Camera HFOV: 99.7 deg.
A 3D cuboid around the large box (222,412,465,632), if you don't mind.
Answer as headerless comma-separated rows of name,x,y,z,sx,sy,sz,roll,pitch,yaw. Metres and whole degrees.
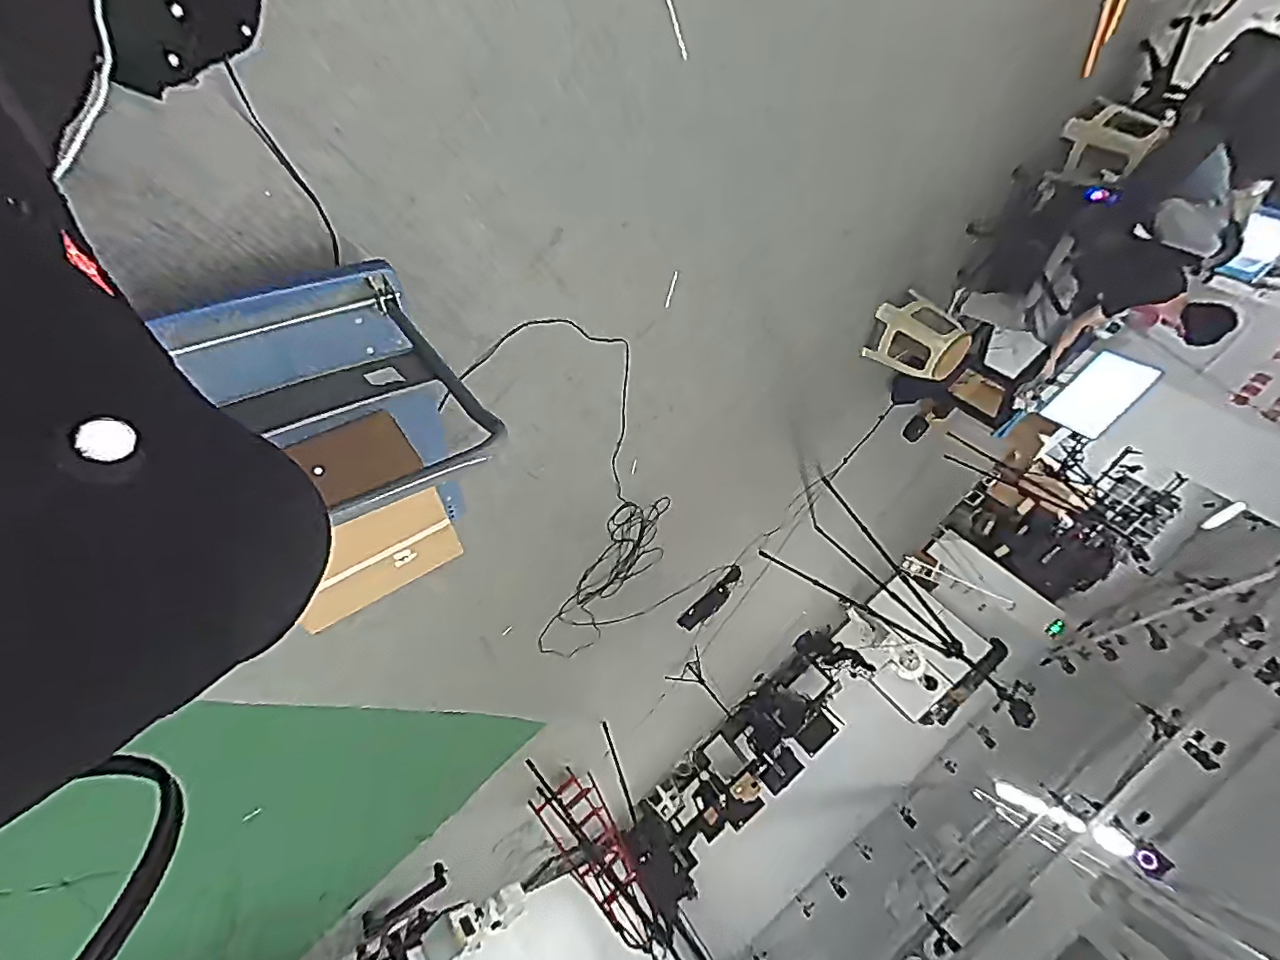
large box,-0.729,0.095,1.368,0.408,0.320,0.320,-31,145,-23
